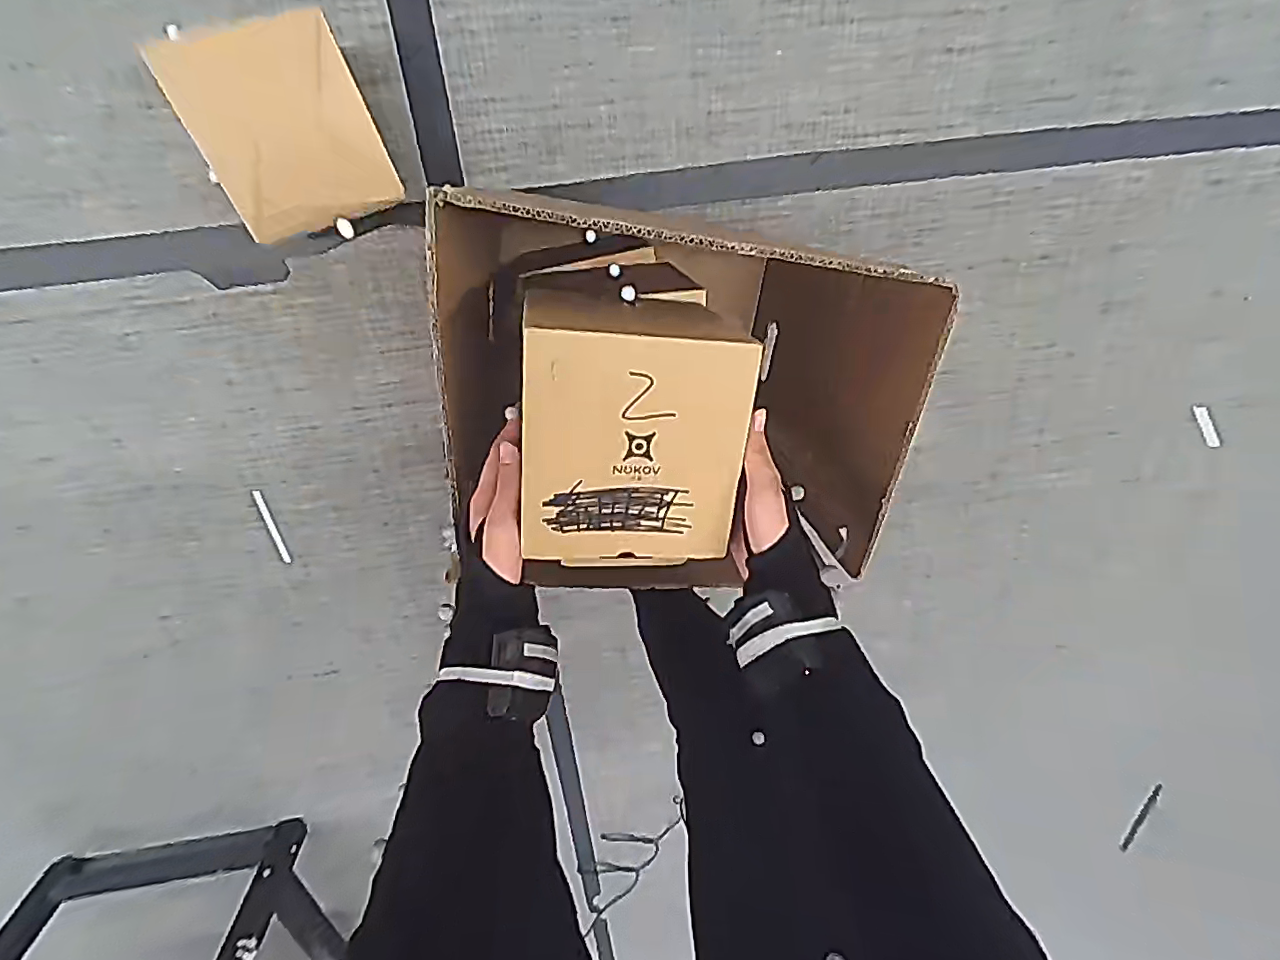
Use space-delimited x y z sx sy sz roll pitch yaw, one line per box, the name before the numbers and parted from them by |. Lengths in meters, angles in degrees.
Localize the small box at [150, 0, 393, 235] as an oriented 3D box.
small box | -0.392 -0.397 0.605 0.168 0.176 0.179 -27 117 -15
